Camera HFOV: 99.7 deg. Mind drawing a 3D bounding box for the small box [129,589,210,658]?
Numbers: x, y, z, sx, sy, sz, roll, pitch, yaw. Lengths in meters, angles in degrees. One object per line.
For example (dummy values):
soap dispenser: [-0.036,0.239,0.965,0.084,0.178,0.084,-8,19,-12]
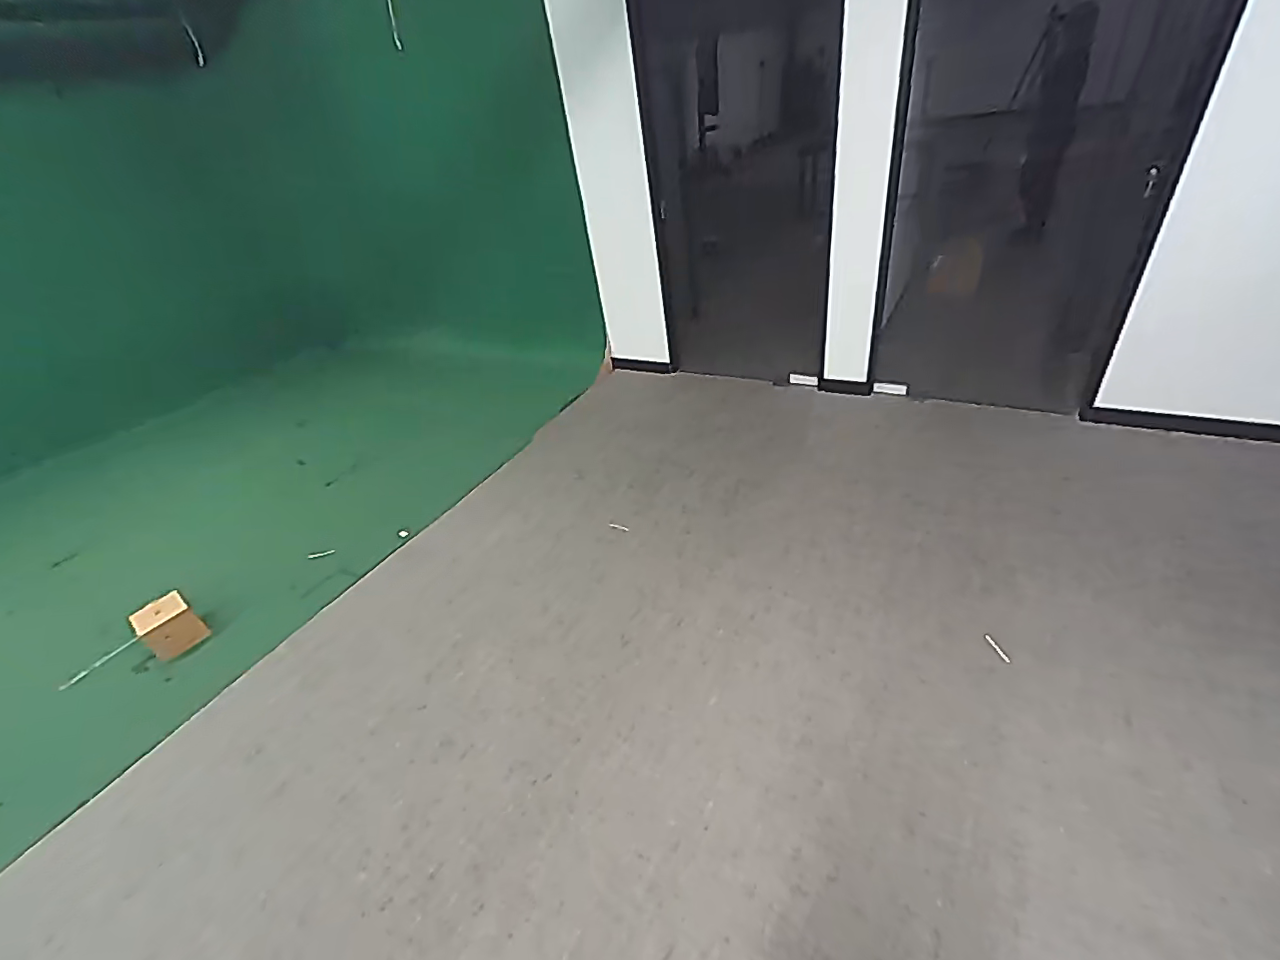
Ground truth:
small box: [-1.847,0.569,2.129,0.179,0.176,0.168,19,44,34]
